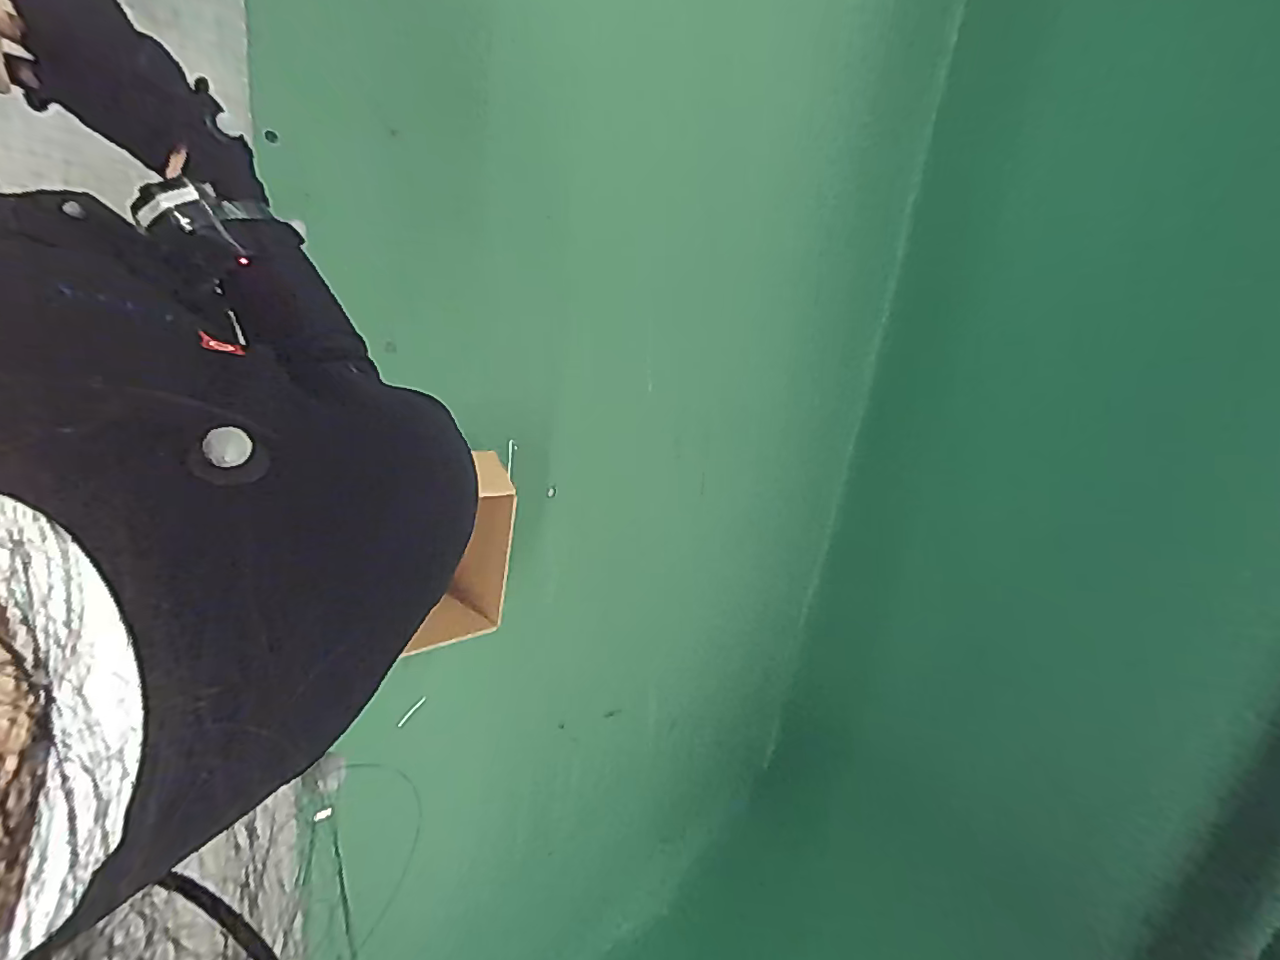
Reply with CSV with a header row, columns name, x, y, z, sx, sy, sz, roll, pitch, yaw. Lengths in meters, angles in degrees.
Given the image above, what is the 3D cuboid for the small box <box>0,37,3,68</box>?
name,x,y,z,sx,sy,sz,roll,pitch,yaw
small box,-0.416,-0.305,0.226,0.168,0.176,0.179,-13,116,-43
